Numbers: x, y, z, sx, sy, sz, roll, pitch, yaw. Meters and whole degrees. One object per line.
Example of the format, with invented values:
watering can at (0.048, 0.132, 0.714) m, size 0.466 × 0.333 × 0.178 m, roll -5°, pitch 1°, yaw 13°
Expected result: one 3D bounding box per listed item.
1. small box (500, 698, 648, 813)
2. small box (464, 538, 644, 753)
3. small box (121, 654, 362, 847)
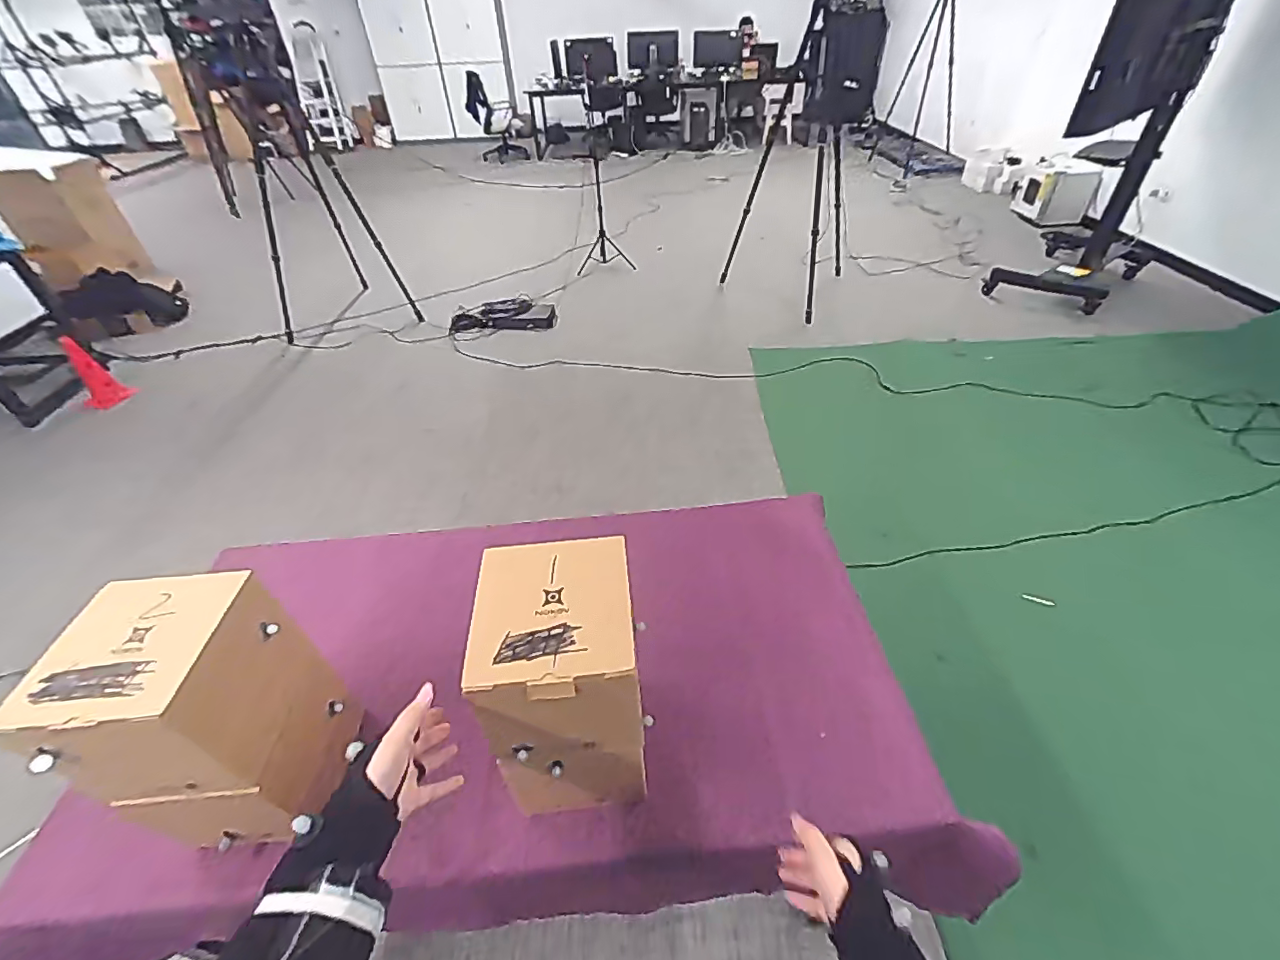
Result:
small box at (-0.079, 0.317, 0.729) m, size 0.168 × 0.176 × 0.179 m, roll -6°, pitch 41°, yaw -1°
small box at (-0.087, 0.193, 0.620) m, size 0.168 × 0.176 × 0.179 m, roll -6°, pitch 41°, yaw -2°
small box at (-0.498, 0.356, 0.716) m, size 0.168 × 0.176 × 0.179 m, roll -5°, pitch 42°, yaw 0°
